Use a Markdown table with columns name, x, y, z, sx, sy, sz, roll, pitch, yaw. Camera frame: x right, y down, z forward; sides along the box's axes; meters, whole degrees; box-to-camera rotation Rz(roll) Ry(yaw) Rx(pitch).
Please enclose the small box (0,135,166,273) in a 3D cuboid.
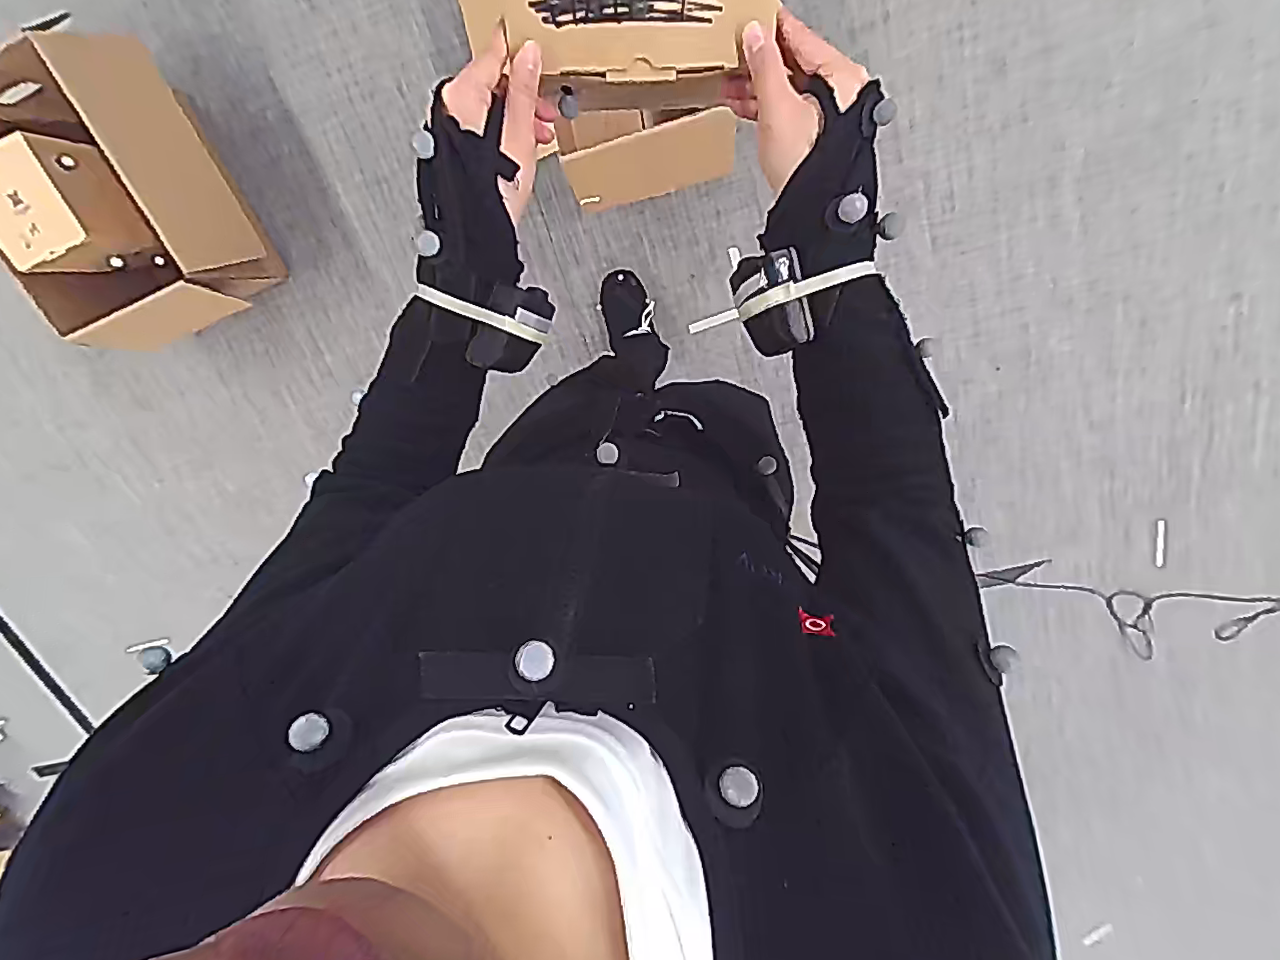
| name | x | y | z | sx | sy | sz | roll | pitch | yaw |
| --- | --- | --- | --- | --- | --- | --- | --- | --- | --- |
| small box | -1.053 | -0.494 | 0.997 | 0.168 | 0.176 | 0.179 | -17 | 109 | 10 |
